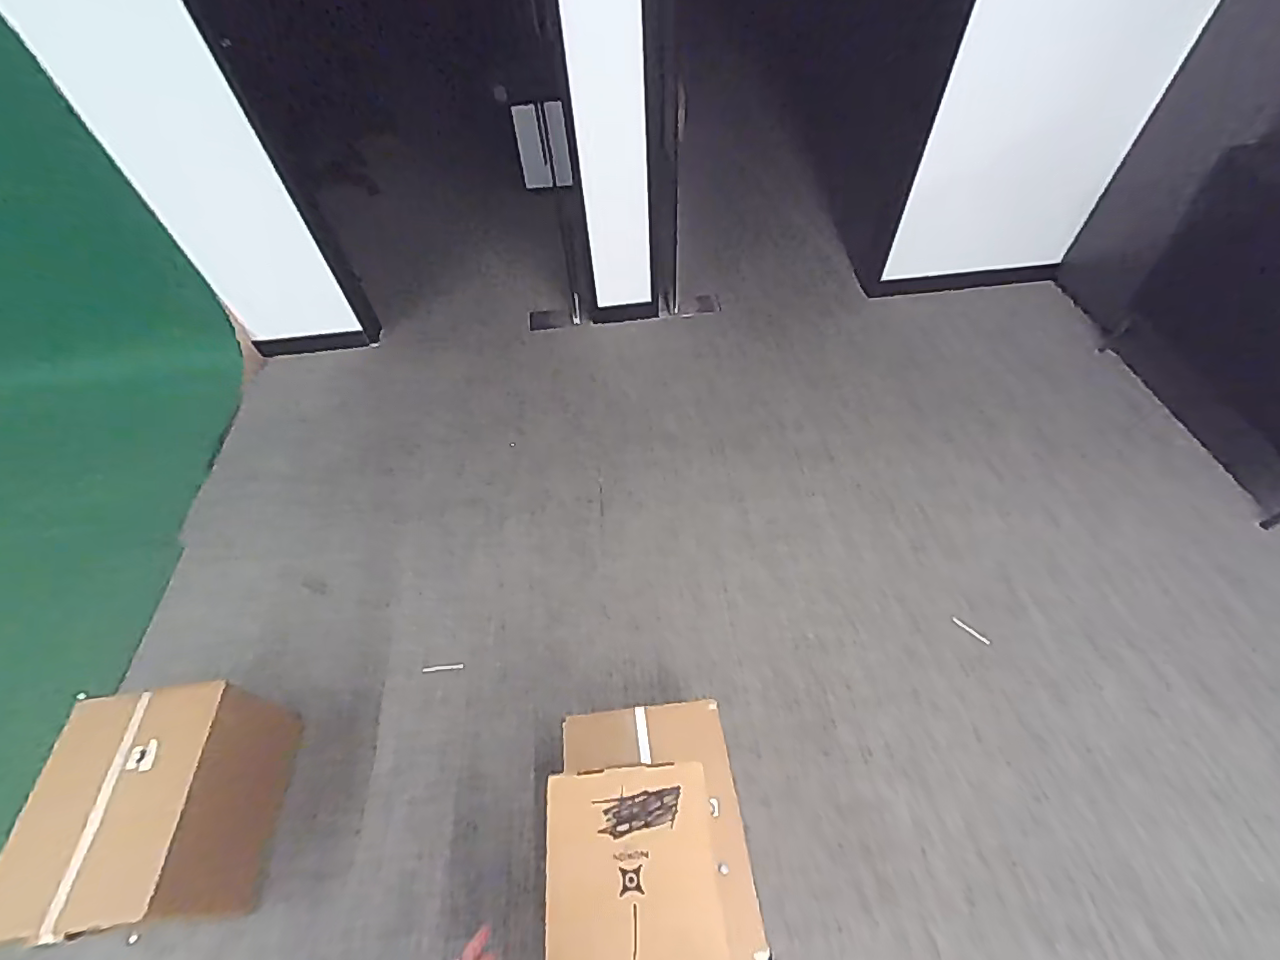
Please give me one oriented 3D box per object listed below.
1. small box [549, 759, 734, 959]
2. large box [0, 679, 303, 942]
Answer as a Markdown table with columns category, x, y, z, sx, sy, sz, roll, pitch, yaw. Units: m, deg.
| category | x | y | z | sx | sy | sz | roll | pitch | yaw |
| --- | --- | --- | --- | --- | --- | --- | --- | --- | --- |
| small box | 0.000 | 0.416 | 0.579 | 0.168 | 0.176 | 0.179 | -6 | 55 | 0 |
| large box | -0.992 | 0.688 | 1.143 | 0.320 | 0.320 | 0.408 | -7 | 52 | -2 |
